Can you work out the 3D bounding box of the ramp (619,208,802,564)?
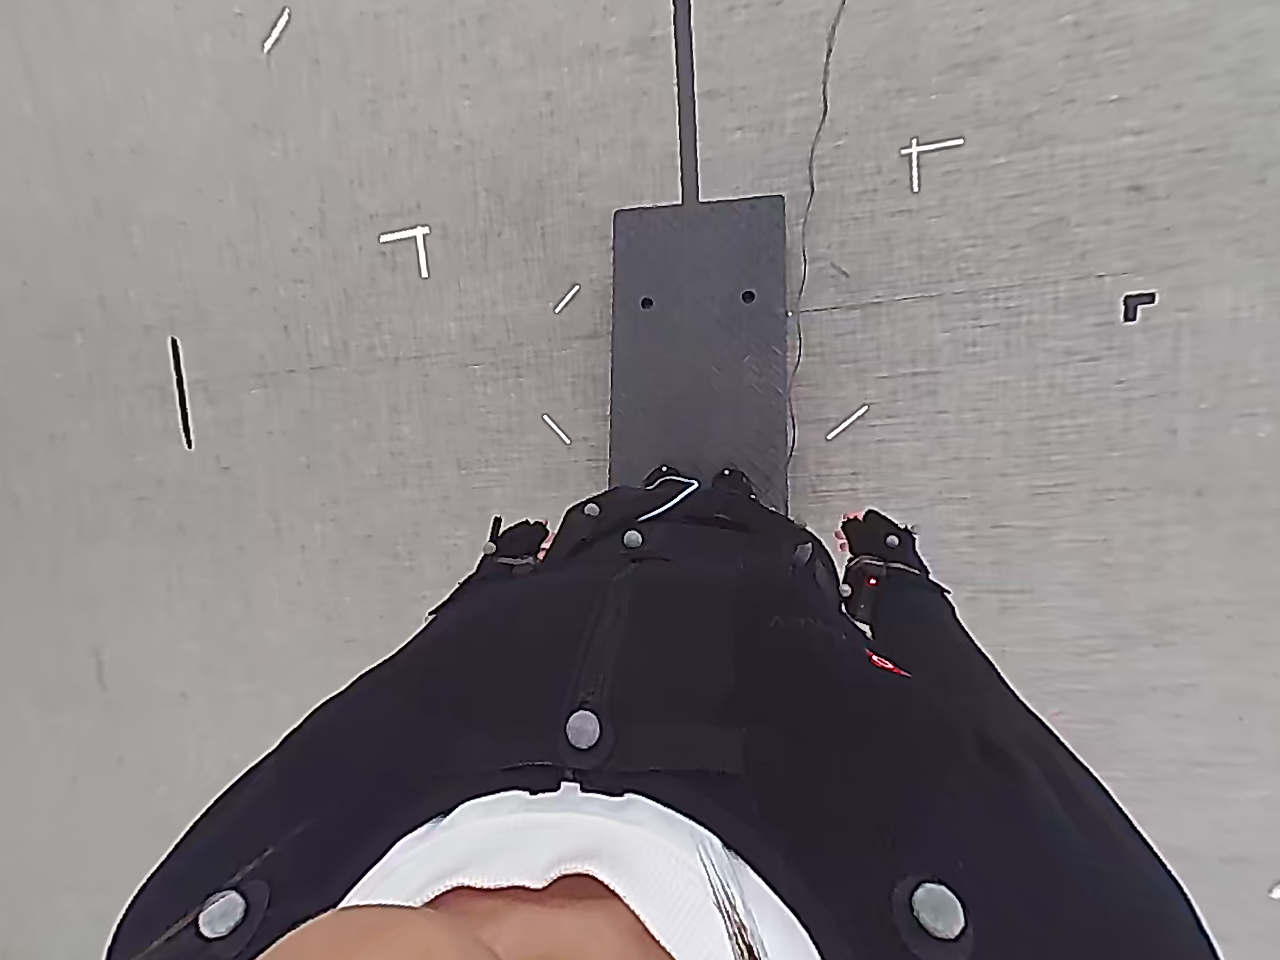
[{"bbox_3d":[0.180,-0.269,1.518,0.509,0.206,0.991,-3,92,12],"label":"ramp"}]
